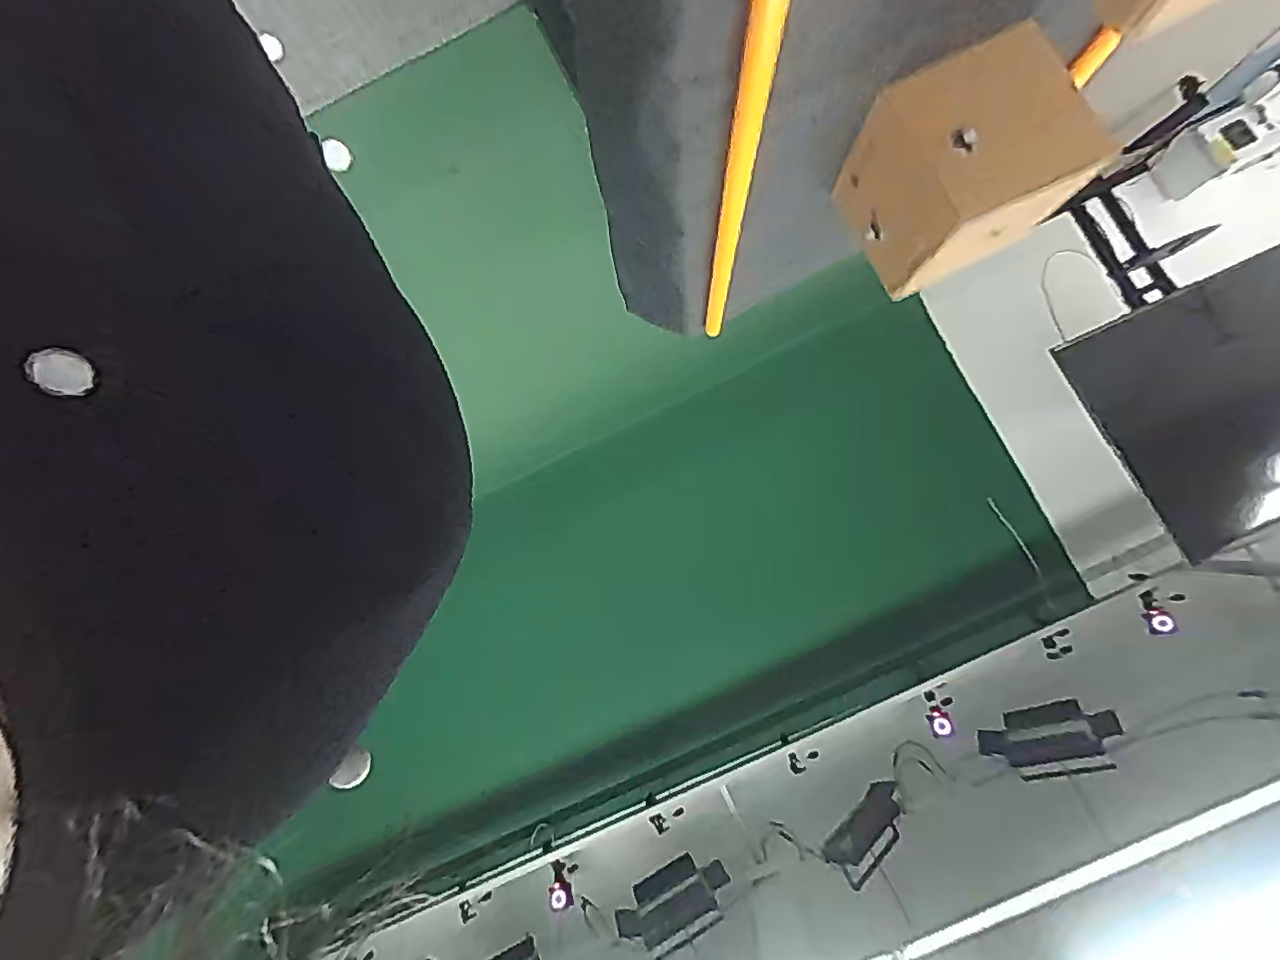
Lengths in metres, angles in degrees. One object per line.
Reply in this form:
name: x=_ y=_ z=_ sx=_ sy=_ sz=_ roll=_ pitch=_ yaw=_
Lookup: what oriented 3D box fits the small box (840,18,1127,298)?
small box: x=0.356 y=-0.346 z=0.604 sx=0.179 sy=0.176 sz=0.168 roll=-28 pitch=173 yaw=0
